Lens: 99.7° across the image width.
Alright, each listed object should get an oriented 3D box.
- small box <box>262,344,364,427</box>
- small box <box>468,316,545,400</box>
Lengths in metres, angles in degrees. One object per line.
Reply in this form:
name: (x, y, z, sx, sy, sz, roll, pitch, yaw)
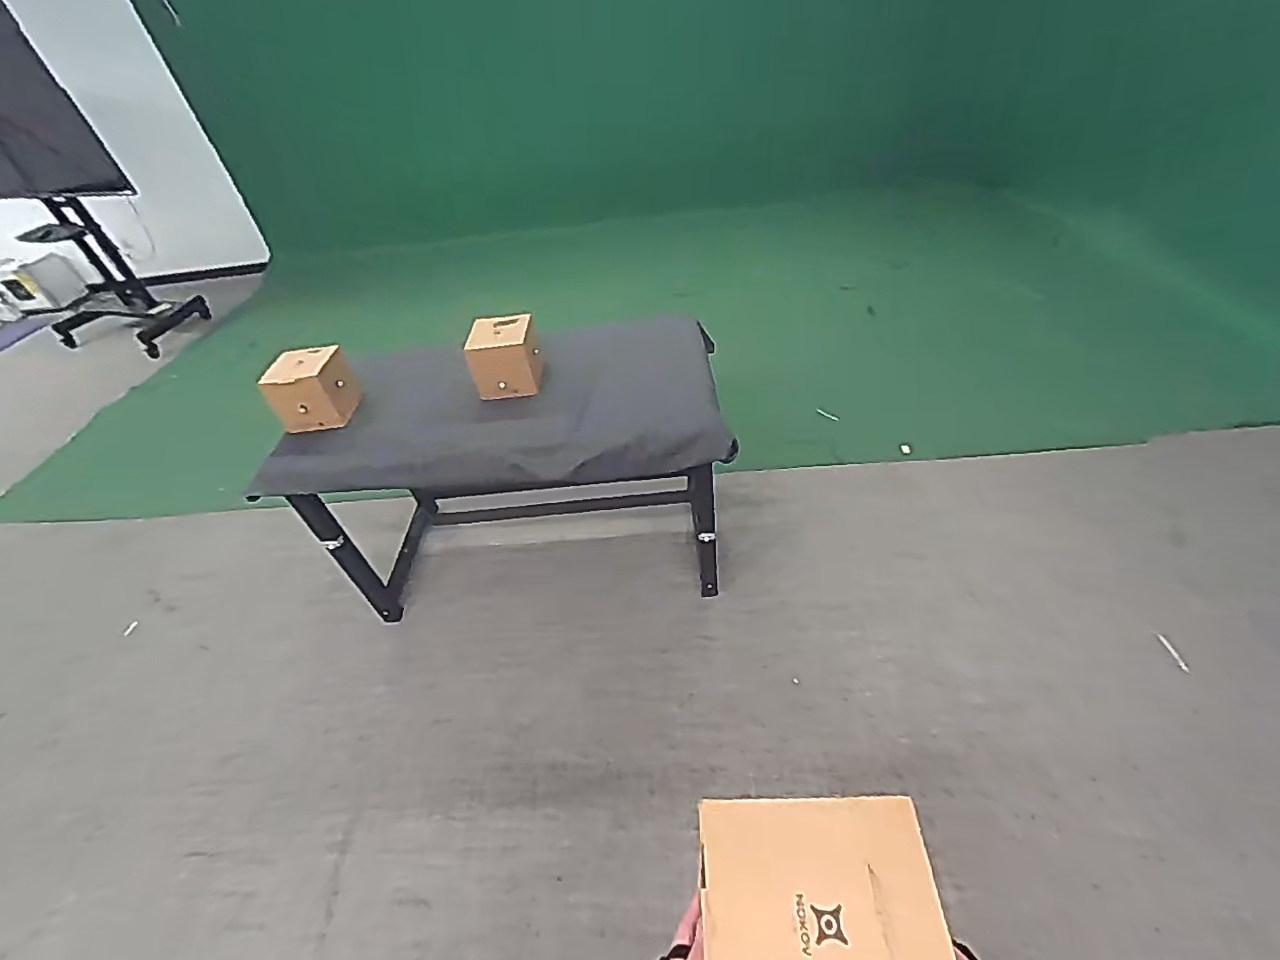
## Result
small box: (-0.922, -0.264, 1.547, 0.168, 0.176, 0.179, -6, 43, 1)
small box: (-0.377, -0.352, 1.562, 0.168, 0.176, 0.179, -5, 44, 3)
